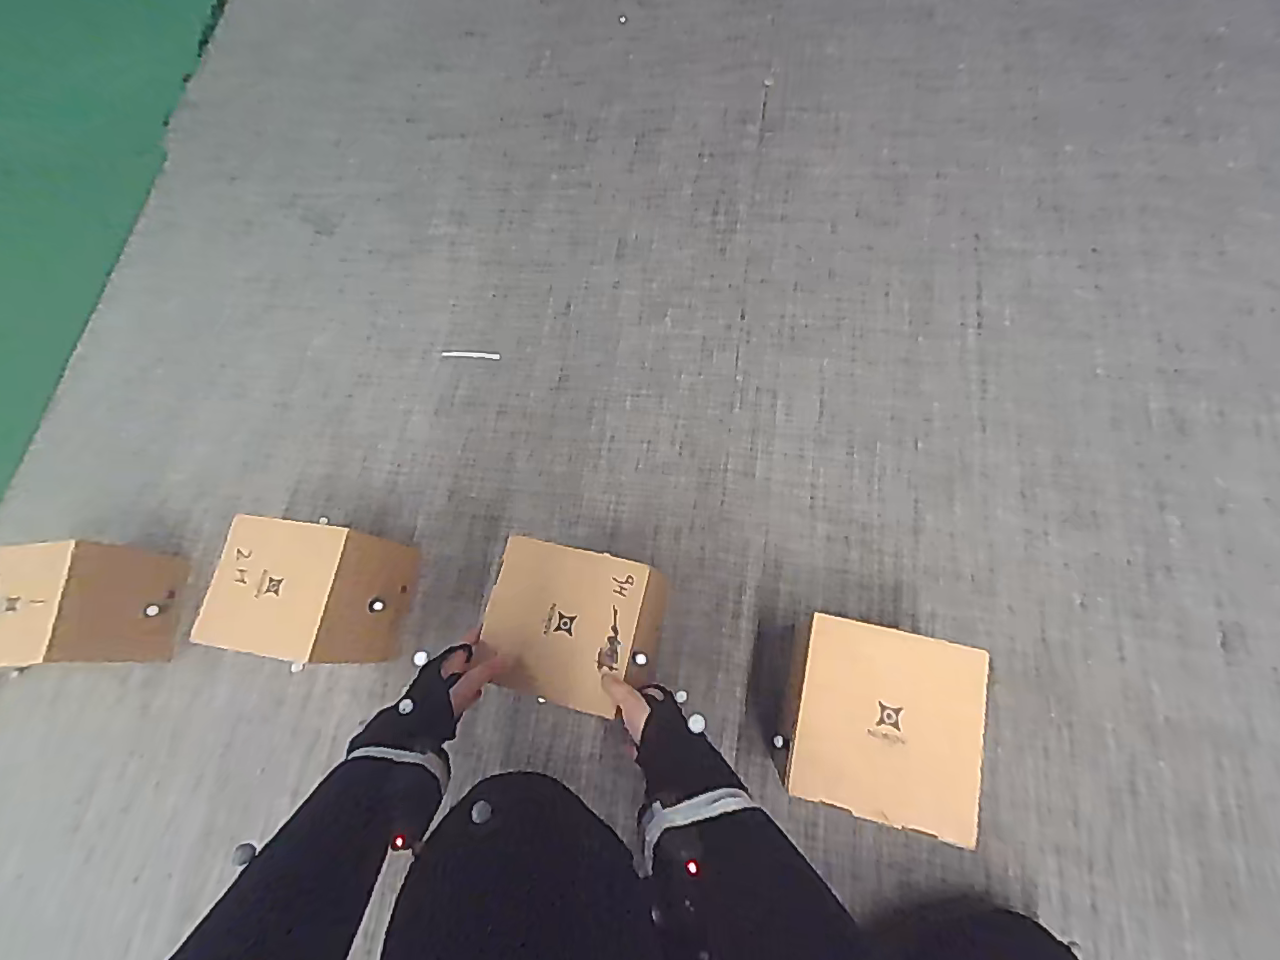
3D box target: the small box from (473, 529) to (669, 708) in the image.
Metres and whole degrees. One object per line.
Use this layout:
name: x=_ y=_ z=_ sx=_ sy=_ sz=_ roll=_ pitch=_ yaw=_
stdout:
small box: x=-0.072 y=0.173 z=0.678 sx=0.179 sy=0.176 sz=0.168 roll=10 pitch=75 yaw=14

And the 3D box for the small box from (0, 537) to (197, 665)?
small box: x=-0.831 y=0.189 z=0.814 sx=0.179 sy=0.176 sz=0.168 roll=-6 pitch=71 yaw=8

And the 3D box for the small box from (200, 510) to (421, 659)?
small box: x=-0.440 y=0.149 z=0.754 sx=0.179 sy=0.176 sz=0.168 roll=6 pitch=73 yaw=12
